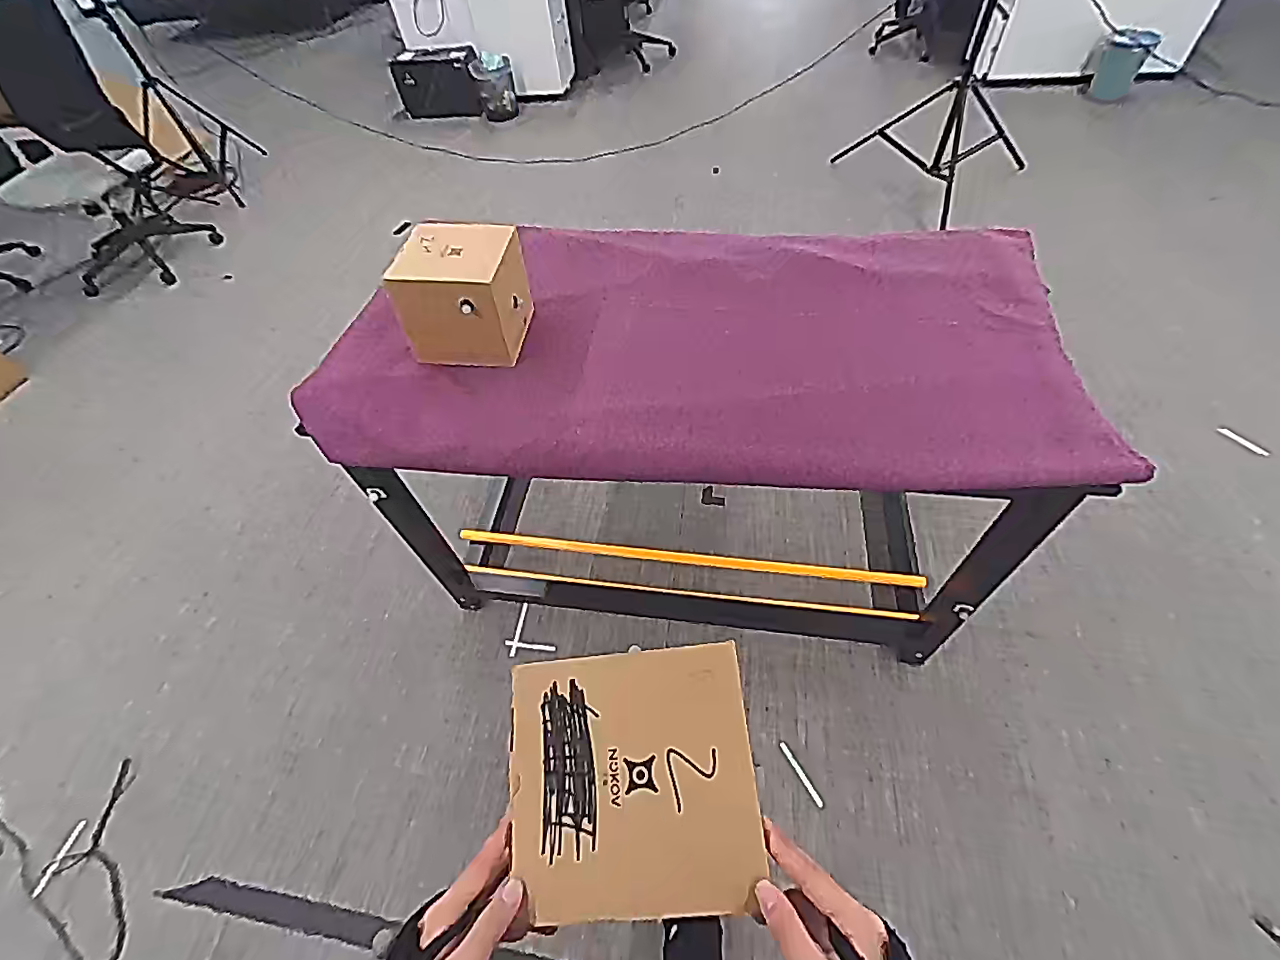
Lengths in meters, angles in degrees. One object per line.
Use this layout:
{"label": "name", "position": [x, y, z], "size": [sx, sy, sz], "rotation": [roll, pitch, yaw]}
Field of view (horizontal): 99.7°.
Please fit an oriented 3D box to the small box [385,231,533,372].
{"label": "small box", "position": [-0.295, -0.304, 0.932], "size": [0.179, 0.176, 0.168], "rotation": [4, 53, 5]}
